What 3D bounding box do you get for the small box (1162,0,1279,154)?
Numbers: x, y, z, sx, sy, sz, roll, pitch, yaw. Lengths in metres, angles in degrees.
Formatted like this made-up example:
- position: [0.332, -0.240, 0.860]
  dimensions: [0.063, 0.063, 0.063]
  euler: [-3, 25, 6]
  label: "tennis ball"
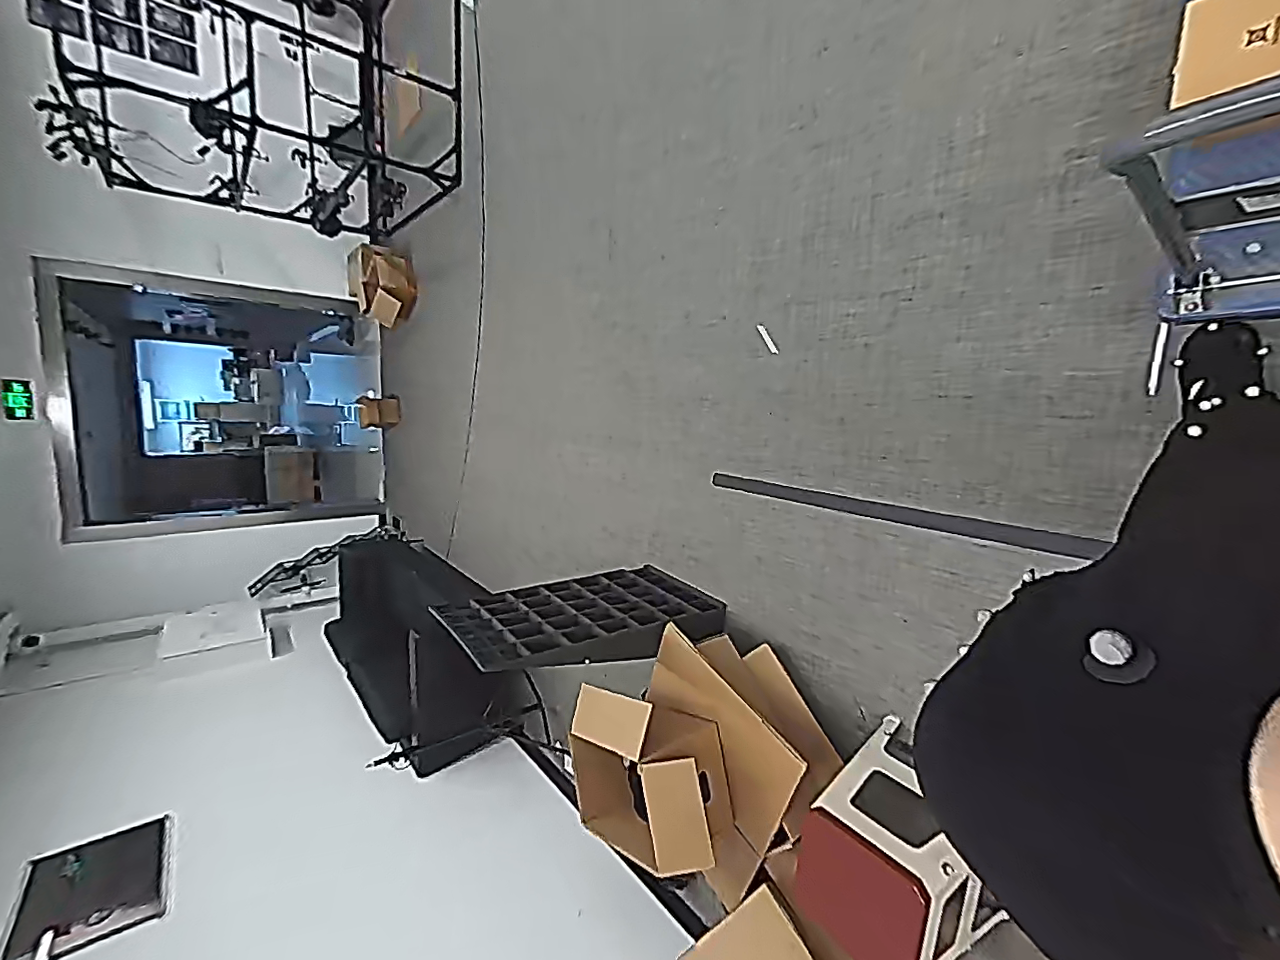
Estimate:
- position: [0.930, -0.623, 0.812]
  dimensions: [0.179, 0.176, 0.168]
  euler: [12, 102, 49]
  label: "small box"
